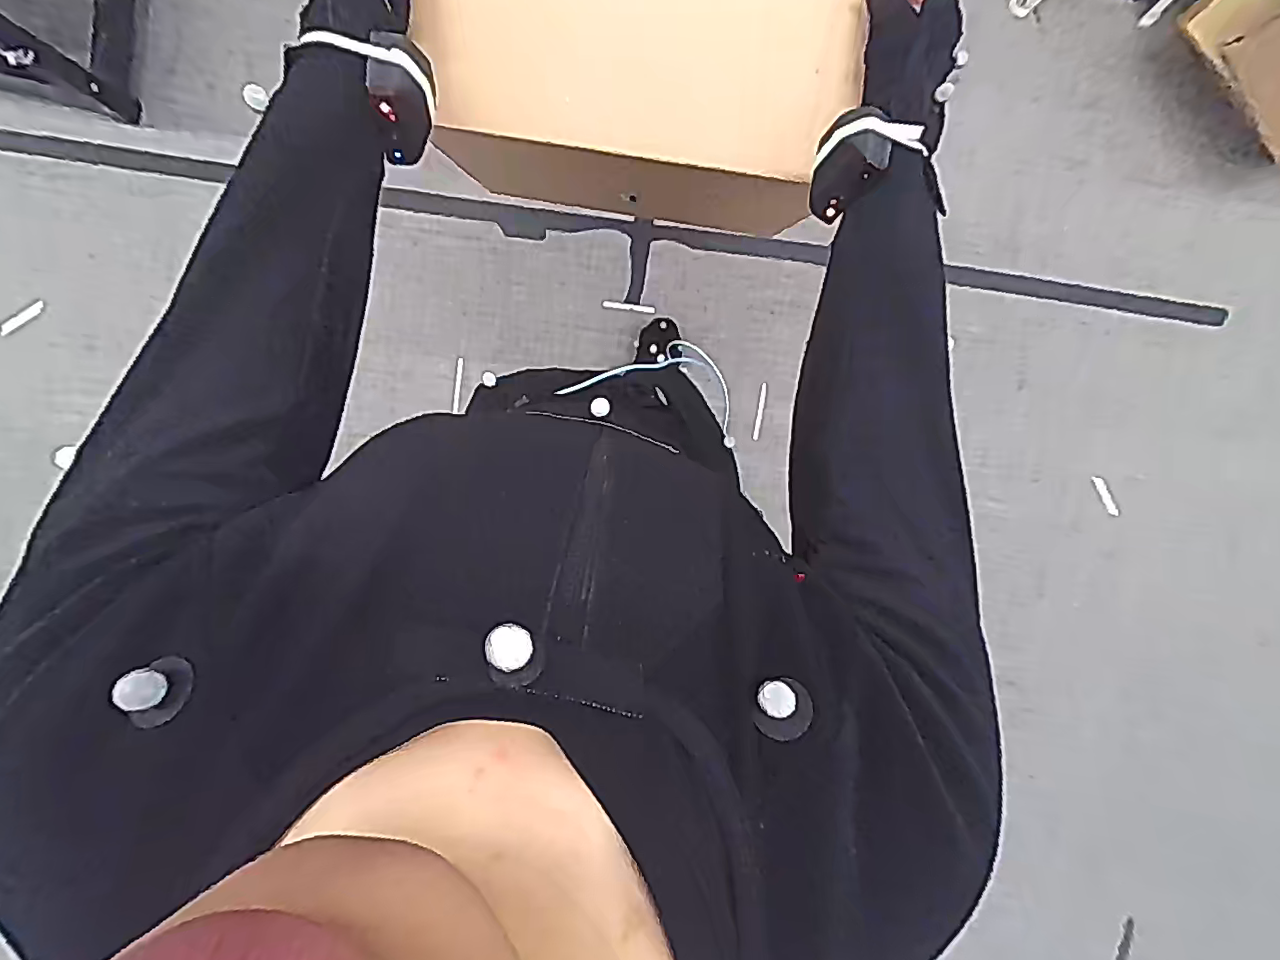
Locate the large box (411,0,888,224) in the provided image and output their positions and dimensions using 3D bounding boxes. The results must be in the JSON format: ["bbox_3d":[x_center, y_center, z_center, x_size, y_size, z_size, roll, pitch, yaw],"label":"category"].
[{"bbox_3d":[0.015,-0.484,0.580,0.408,0.320,0.320,7,106,-3],"label":"large box"}]
